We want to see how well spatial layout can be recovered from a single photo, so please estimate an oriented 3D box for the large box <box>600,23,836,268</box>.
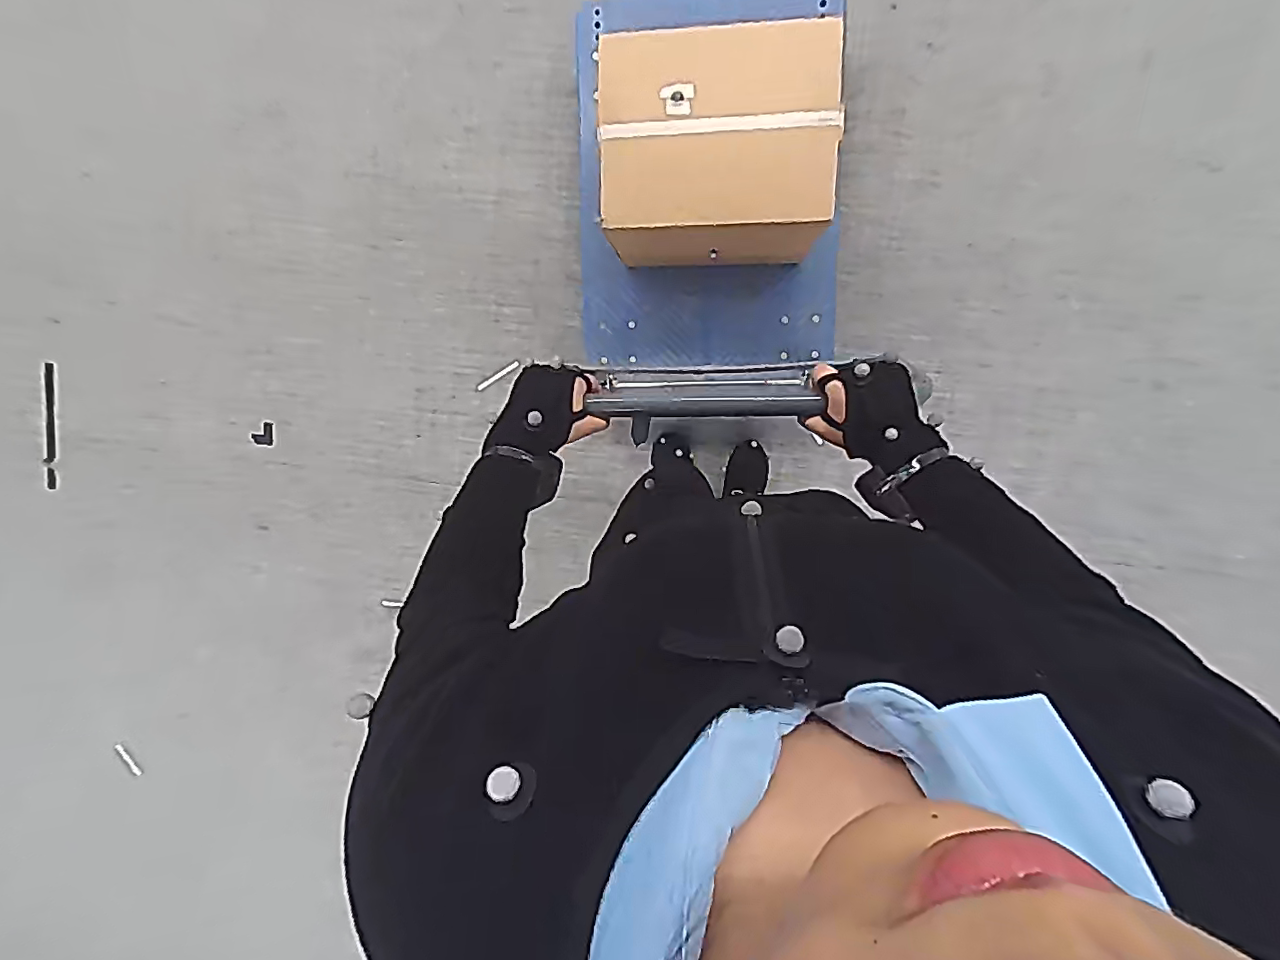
[{"bbox_3d":[0.151,-0.622,1.080,0.408,0.320,0.320,1,98,7],"label":"large box"}]
